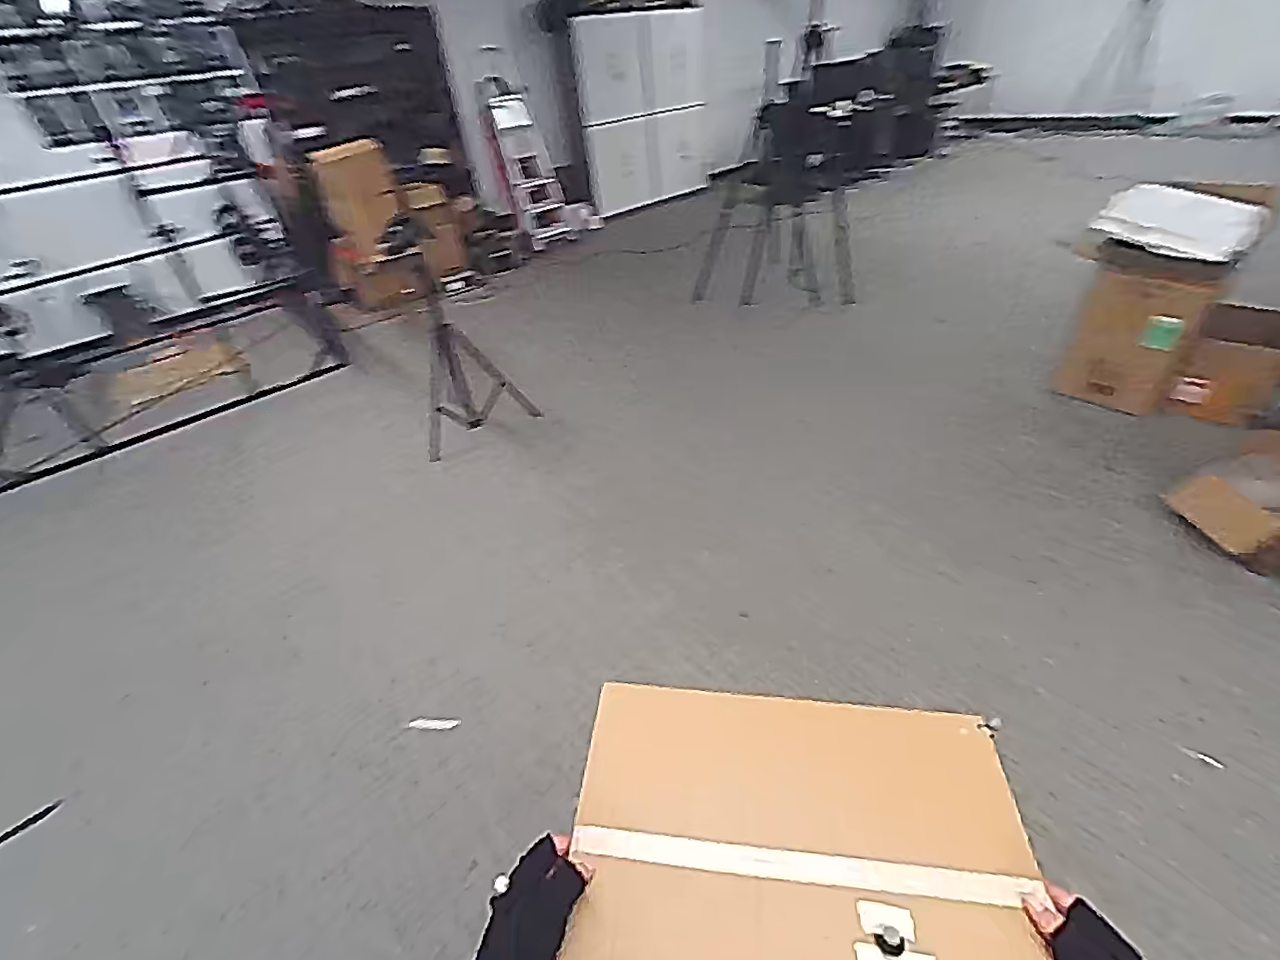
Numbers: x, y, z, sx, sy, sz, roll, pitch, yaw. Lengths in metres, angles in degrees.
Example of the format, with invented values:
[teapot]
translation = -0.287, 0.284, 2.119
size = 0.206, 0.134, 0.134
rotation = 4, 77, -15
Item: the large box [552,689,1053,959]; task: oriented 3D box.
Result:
[large box]
translation = 0.139, 0.455, 0.577
size = 0.408, 0.320, 0.320
rotation = 2, 40, 7
